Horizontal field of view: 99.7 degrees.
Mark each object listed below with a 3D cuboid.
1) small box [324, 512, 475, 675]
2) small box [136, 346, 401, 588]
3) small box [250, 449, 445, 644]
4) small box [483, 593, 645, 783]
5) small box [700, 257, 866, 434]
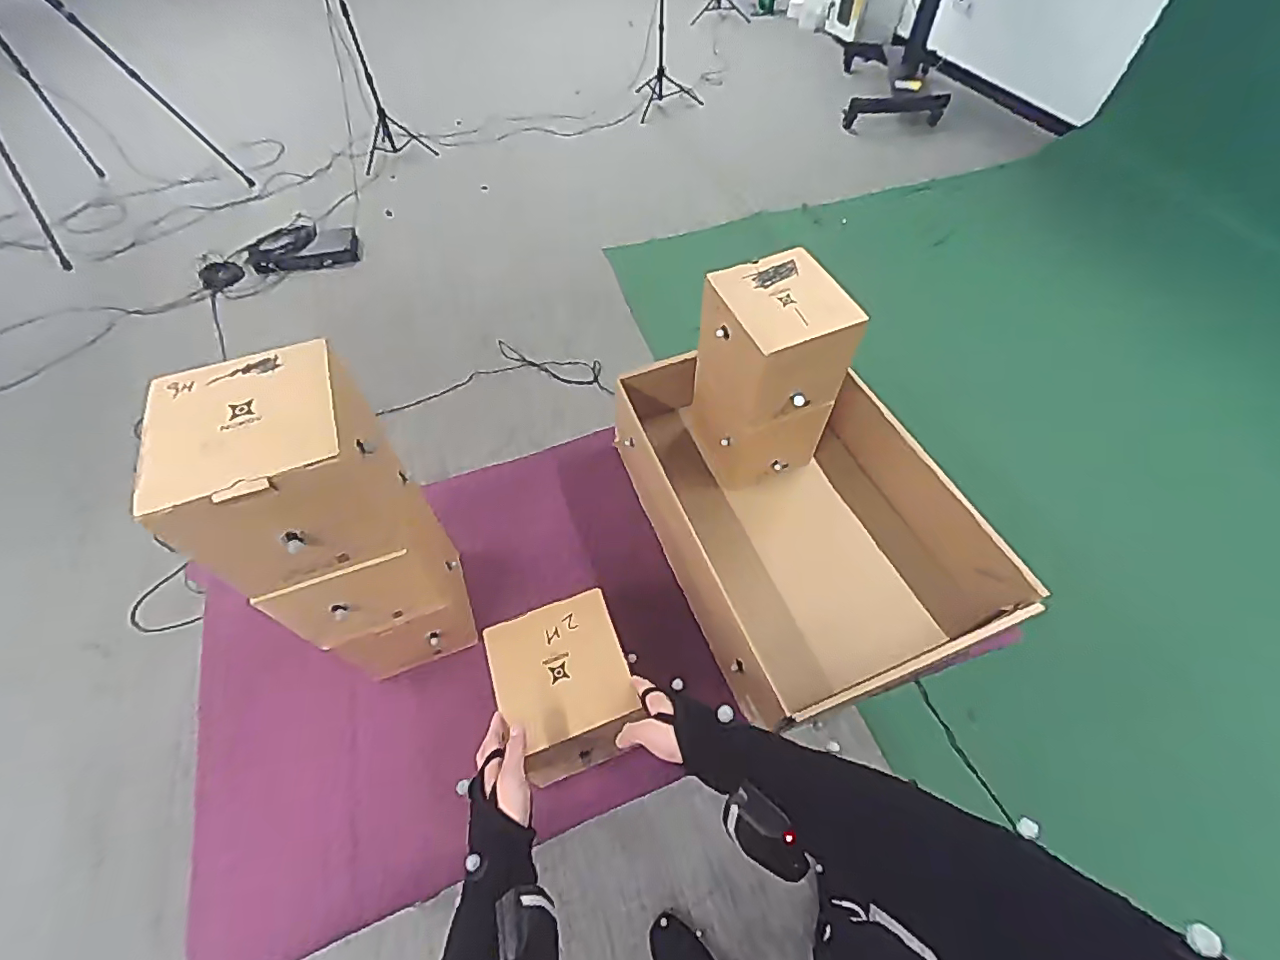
[{"bbox_3d":[-0.368,0.183,0.835,0.168,0.176,0.179,-17,56,-12],"label":"small box"},{"bbox_3d":[-0.370,-0.005,0.570,0.168,0.176,0.179,-18,57,-13],"label":"small box"},{"bbox_3d":[-0.368,0.093,0.701,0.168,0.176,0.179,-18,56,-12],"label":"small box"},{"bbox_3d":[-0.098,0.291,0.740,0.168,0.176,0.179,-18,51,-10],"label":"small box"},{"bbox_3d":[0.202,-0.202,0.827,0.168,0.176,0.179,-20,59,-11],"label":"small box"}]
